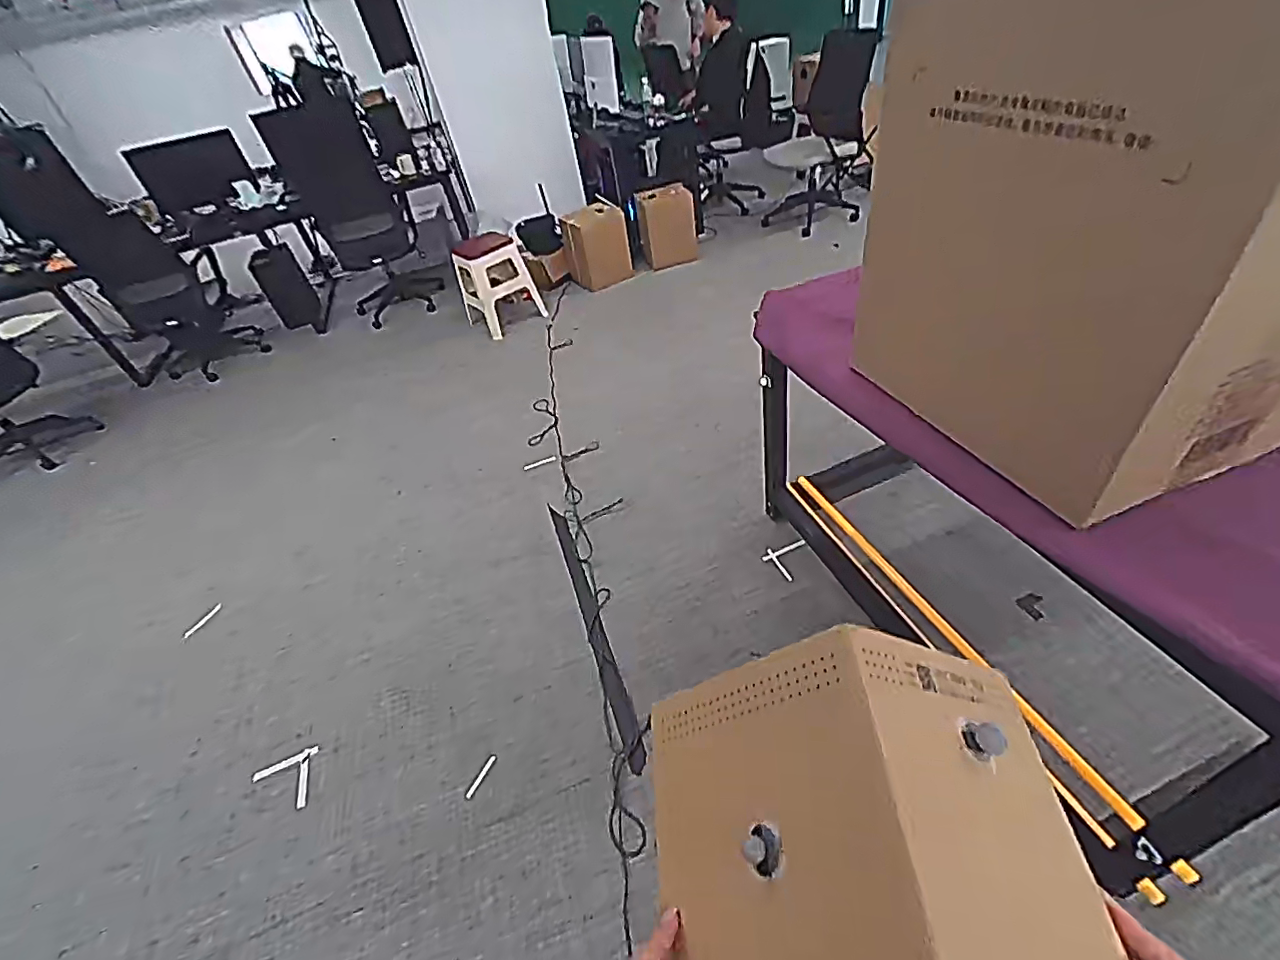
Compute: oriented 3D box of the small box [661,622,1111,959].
[{"bbox_3d":[0.126,0.206,0.325,0.168,0.179,0.176,22,46,-28],"label":"small box"}]
